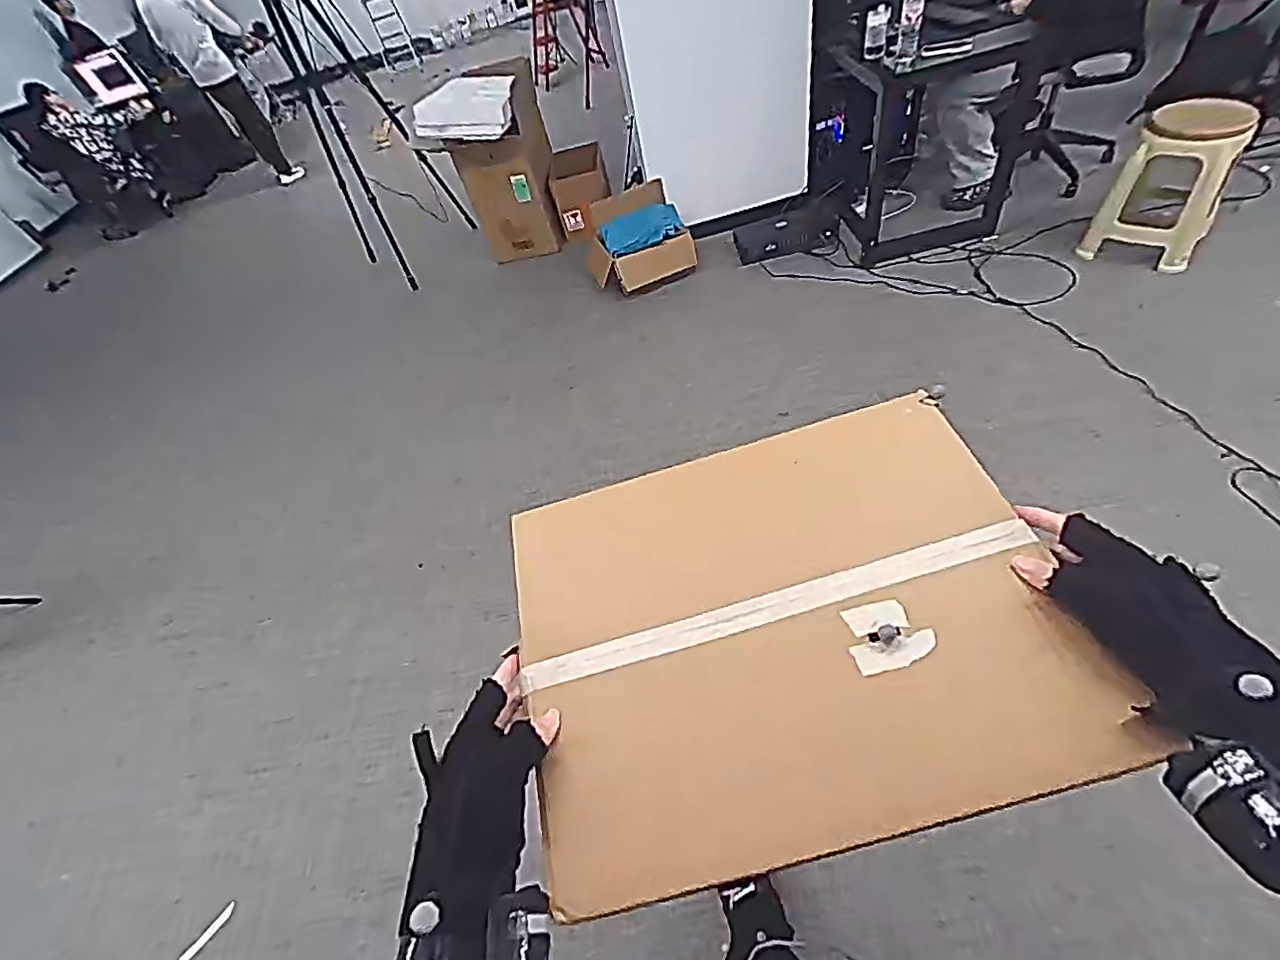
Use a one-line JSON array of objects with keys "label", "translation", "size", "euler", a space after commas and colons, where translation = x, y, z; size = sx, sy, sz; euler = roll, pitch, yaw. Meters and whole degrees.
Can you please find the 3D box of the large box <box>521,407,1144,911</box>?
[{"label": "large box", "translation": [0.133, 0.189, 0.558], "size": [0.408, 0.320, 0.320], "euler": [-17, 55, 2]}]
